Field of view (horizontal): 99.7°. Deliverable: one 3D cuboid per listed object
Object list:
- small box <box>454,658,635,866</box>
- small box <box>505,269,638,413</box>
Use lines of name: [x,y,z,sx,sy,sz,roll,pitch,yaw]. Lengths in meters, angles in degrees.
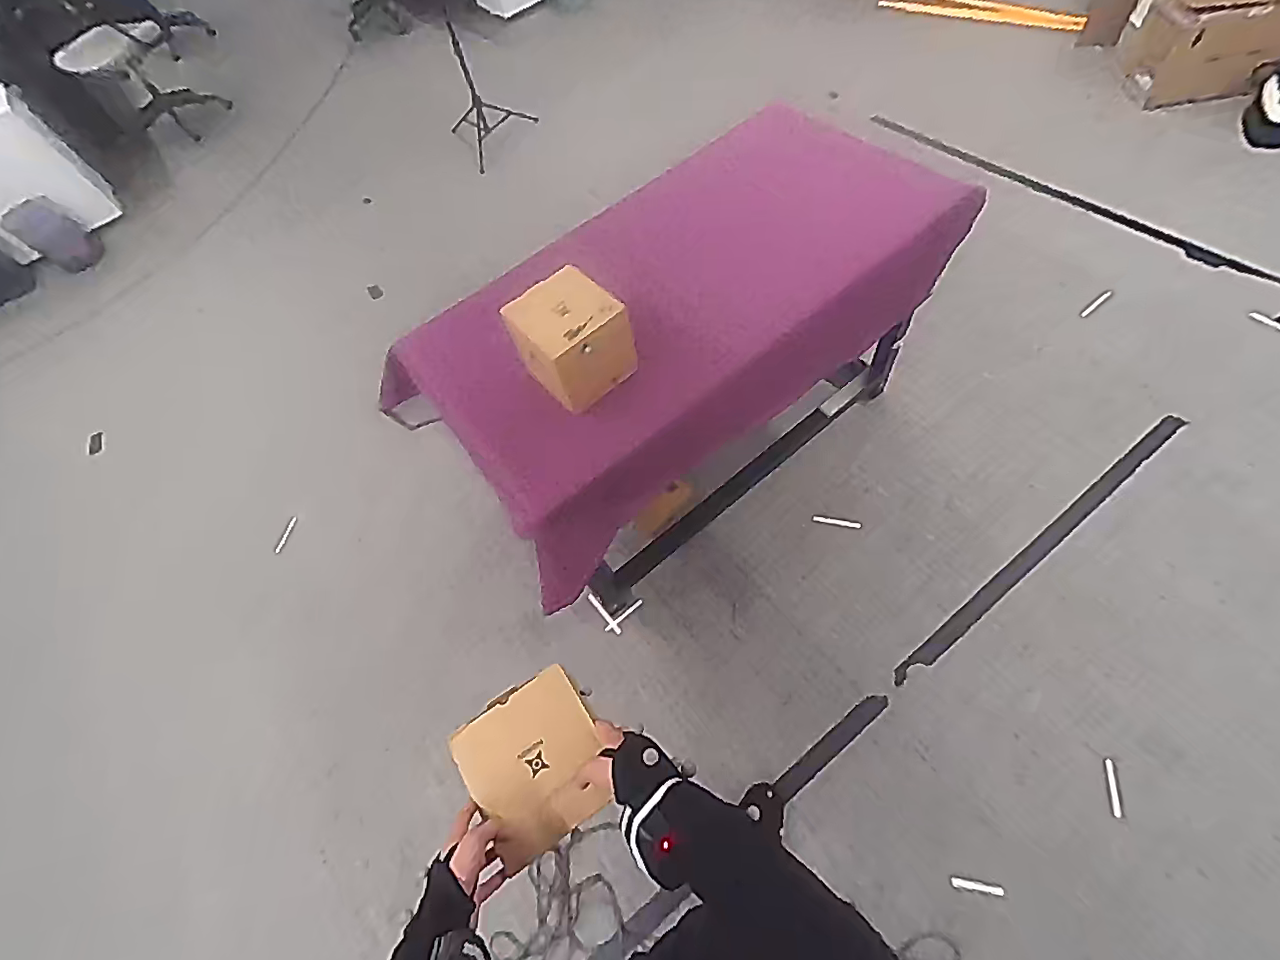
small box: [-0.120,0.373,0.731,0.168,0.176,0.179,-30,66,-13]
small box: [-0.125,-0.262,1.042,0.168,0.176,0.179,-39,62,-13]
